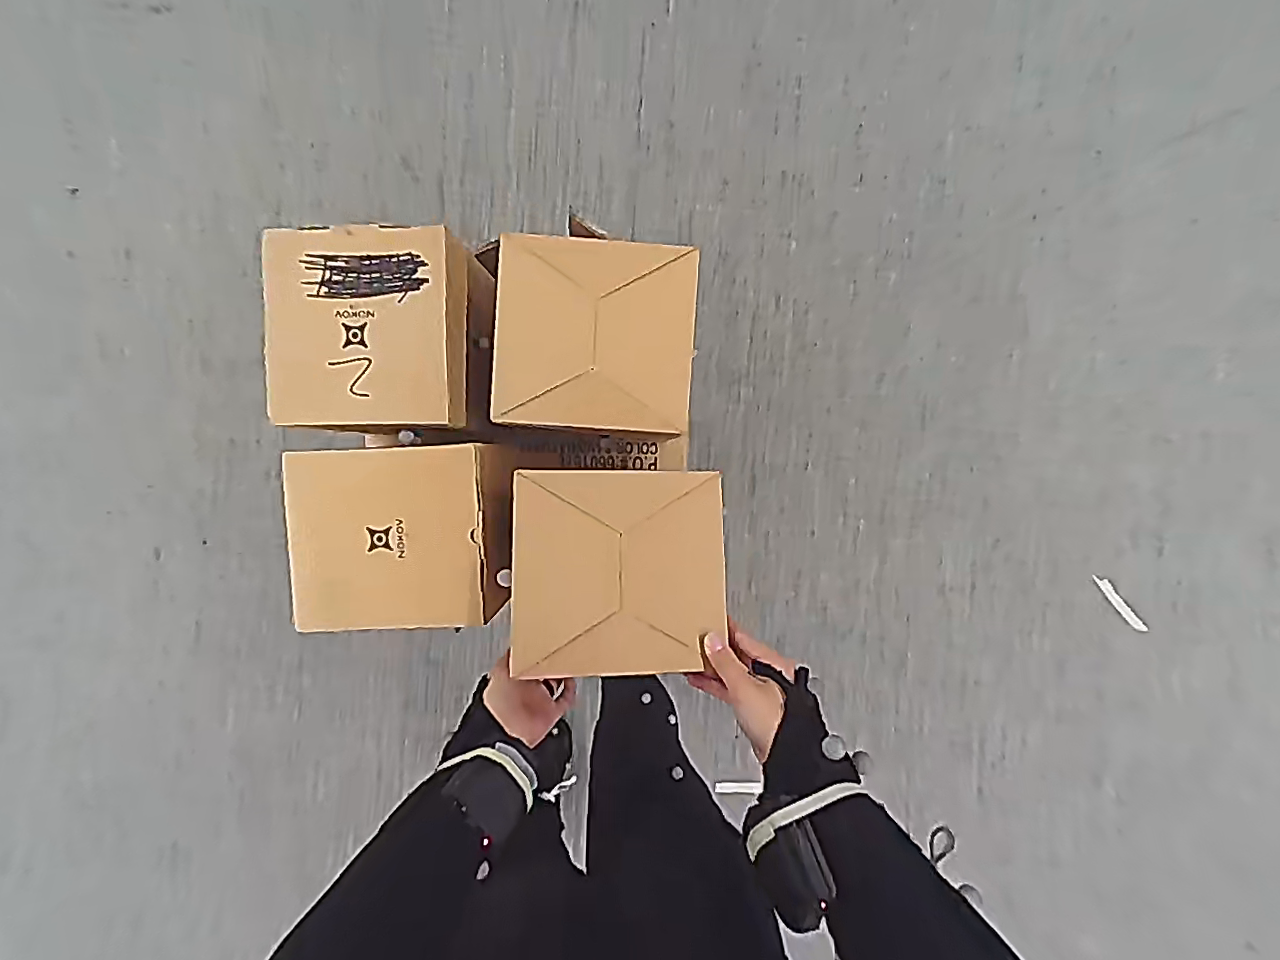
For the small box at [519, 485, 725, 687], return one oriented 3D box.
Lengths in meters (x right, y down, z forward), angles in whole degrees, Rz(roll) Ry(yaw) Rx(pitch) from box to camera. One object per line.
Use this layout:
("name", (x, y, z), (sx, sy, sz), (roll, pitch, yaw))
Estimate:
("small box", (-0.022, 0.098, 0.530), (0.179, 0.176, 0.168), (0, 81, -8))
